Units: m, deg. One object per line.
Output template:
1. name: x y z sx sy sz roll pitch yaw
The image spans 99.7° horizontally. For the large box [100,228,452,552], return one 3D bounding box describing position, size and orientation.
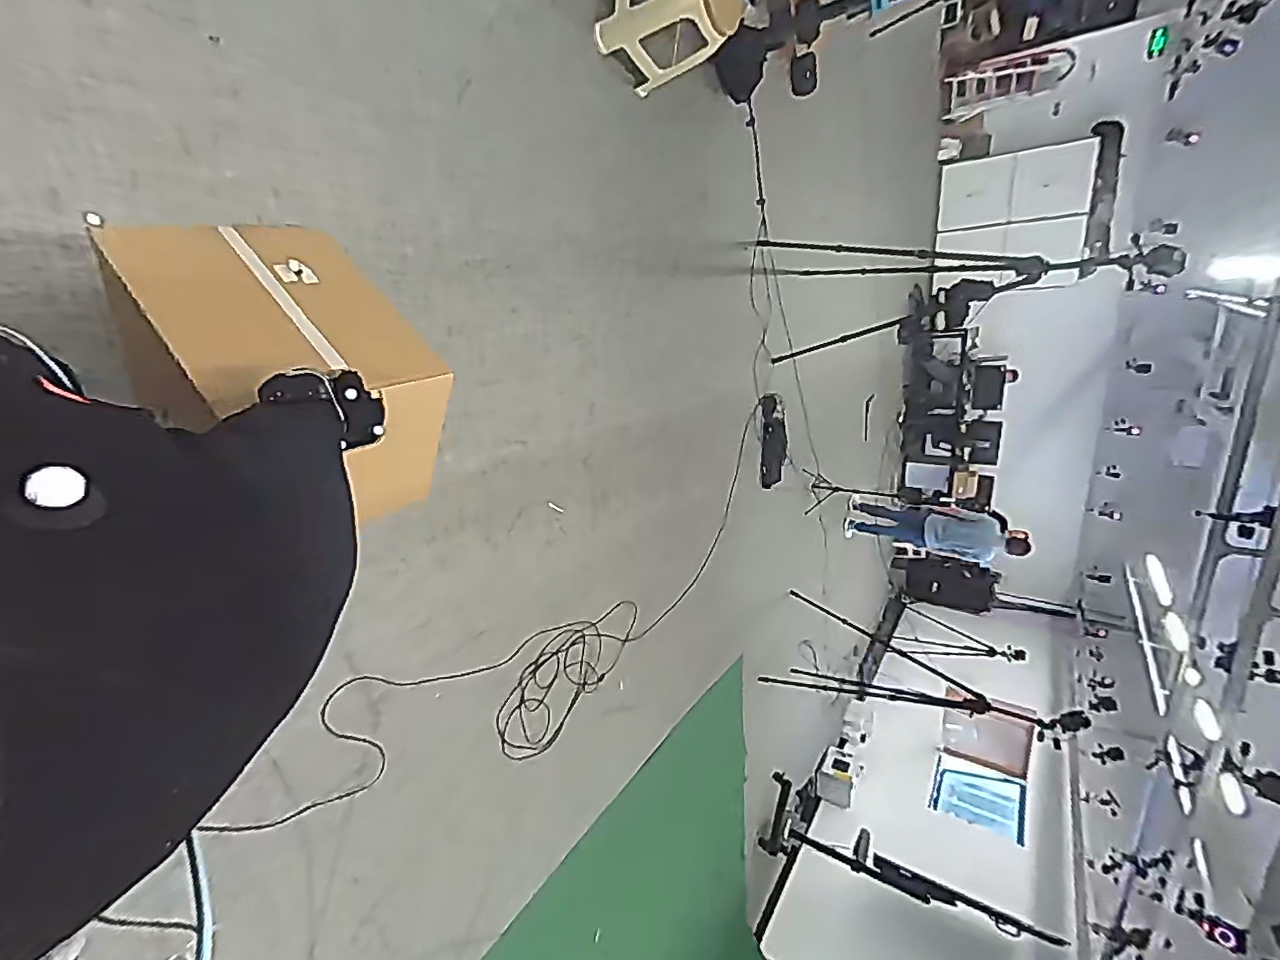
1. large box: -0.579 -0.161 0.901 0.320 0.408 0.320 -27 157 -45
